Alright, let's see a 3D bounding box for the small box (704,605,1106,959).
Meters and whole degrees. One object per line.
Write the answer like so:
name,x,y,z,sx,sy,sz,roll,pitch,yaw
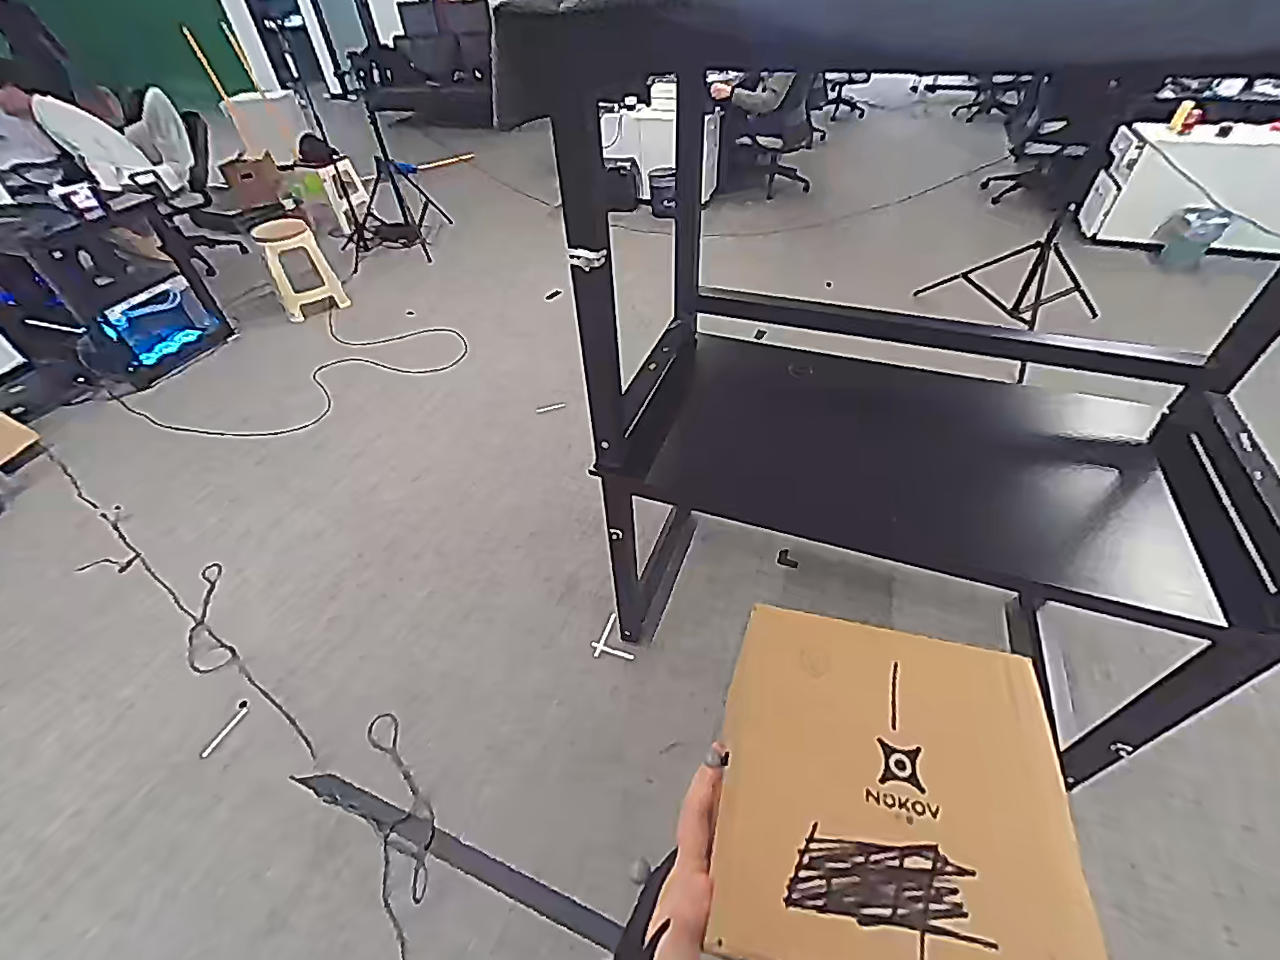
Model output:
small box,0.136,0.210,0.340,0.168,0.176,0.179,10,49,9
